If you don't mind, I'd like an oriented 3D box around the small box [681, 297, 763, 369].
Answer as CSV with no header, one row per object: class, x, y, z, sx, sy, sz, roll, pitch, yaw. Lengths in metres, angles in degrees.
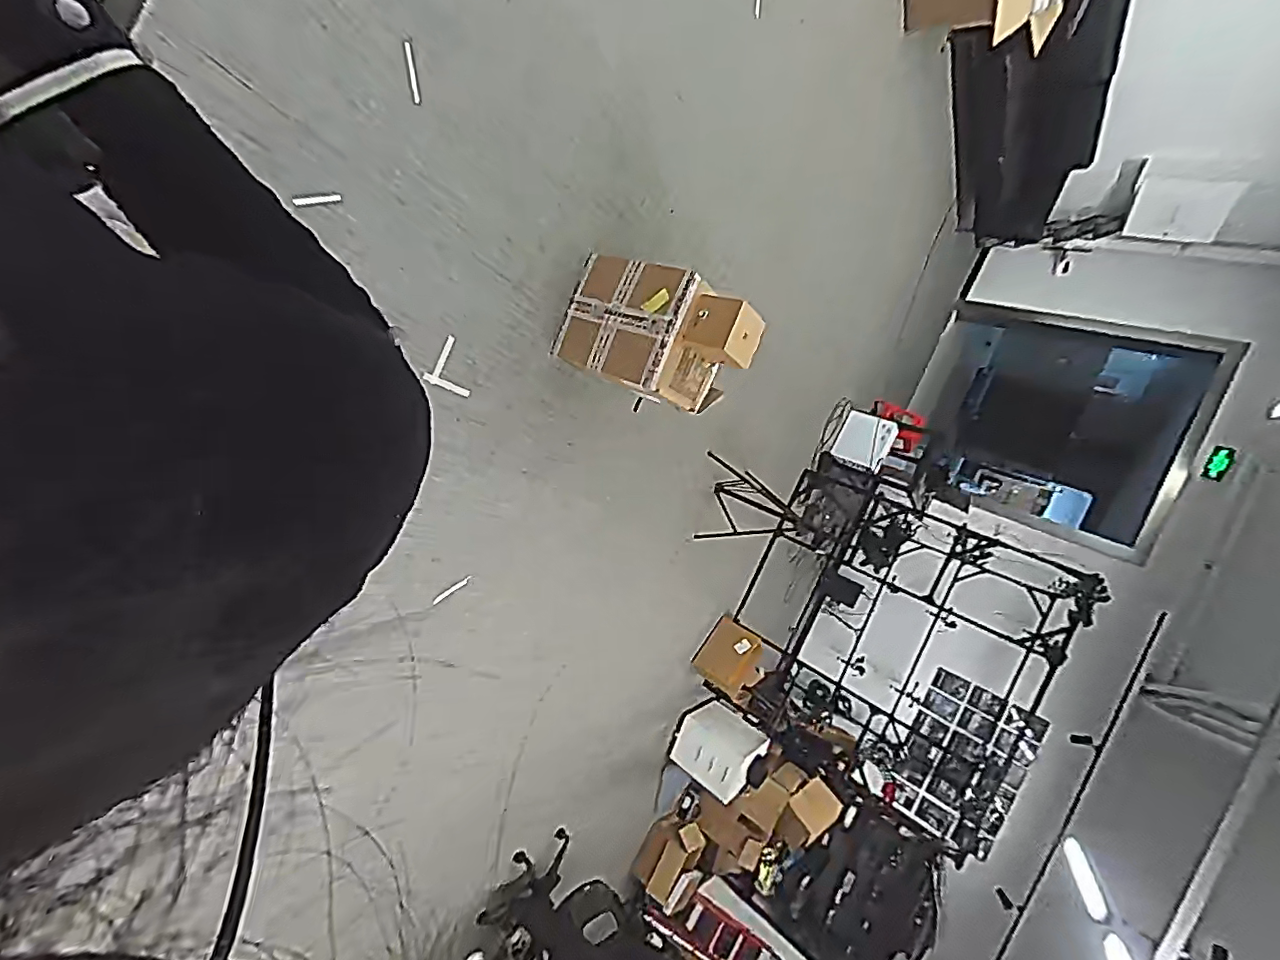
small box,0.265,-0.481,1.754,0.179,0.176,0.168,18,94,-52
